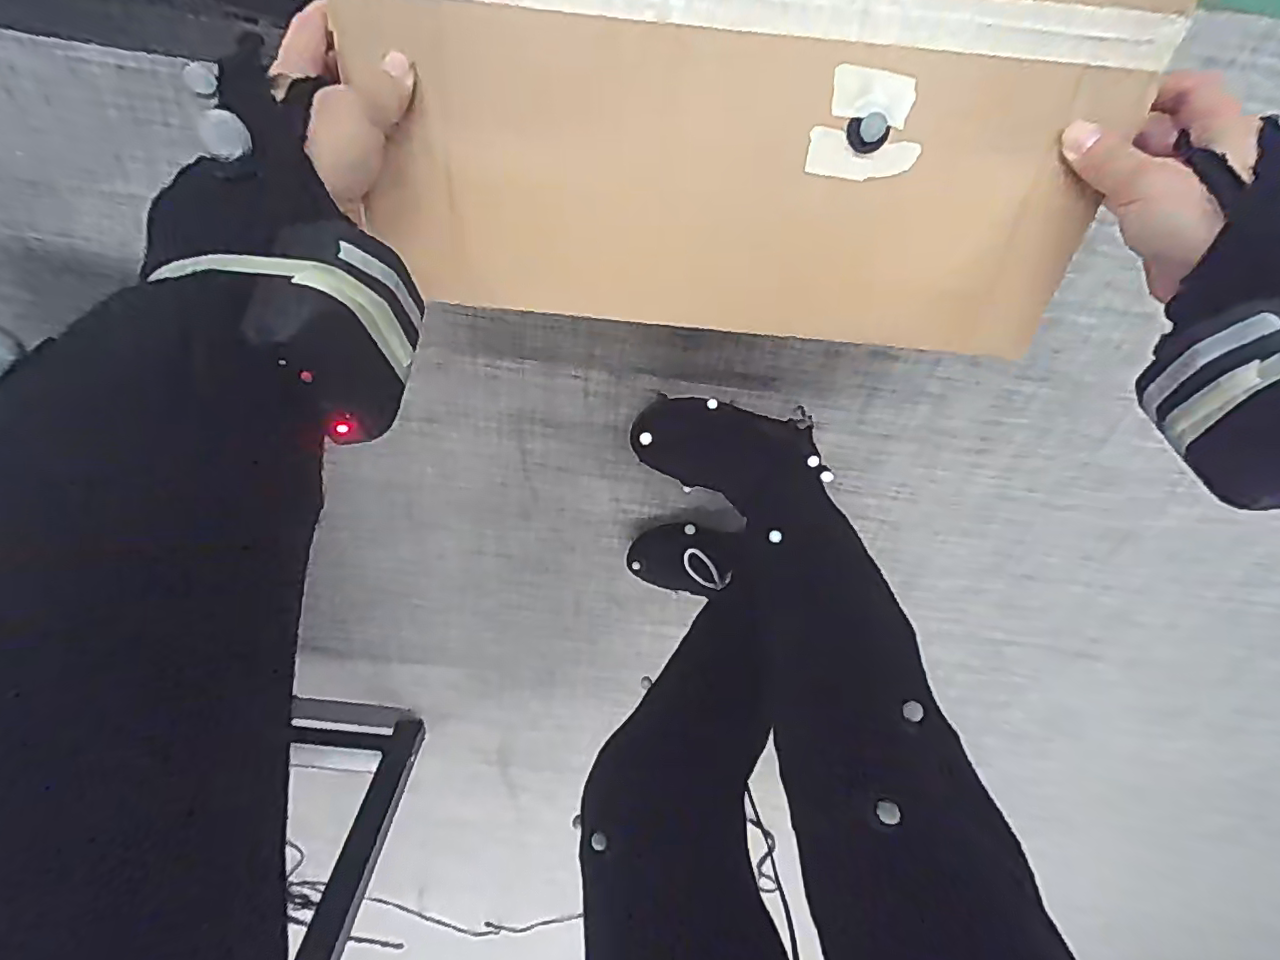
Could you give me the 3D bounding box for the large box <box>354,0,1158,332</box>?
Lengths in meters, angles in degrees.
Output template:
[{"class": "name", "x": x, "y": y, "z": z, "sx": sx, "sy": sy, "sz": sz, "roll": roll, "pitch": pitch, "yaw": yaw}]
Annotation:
[{"class": "large box", "x": 0.055, "y": -0.316, "z": 0.395, "sx": 0.408, "sy": 0.320, "sz": 0.320, "roll": 4, "pitch": 124, "yaw": -2}]
